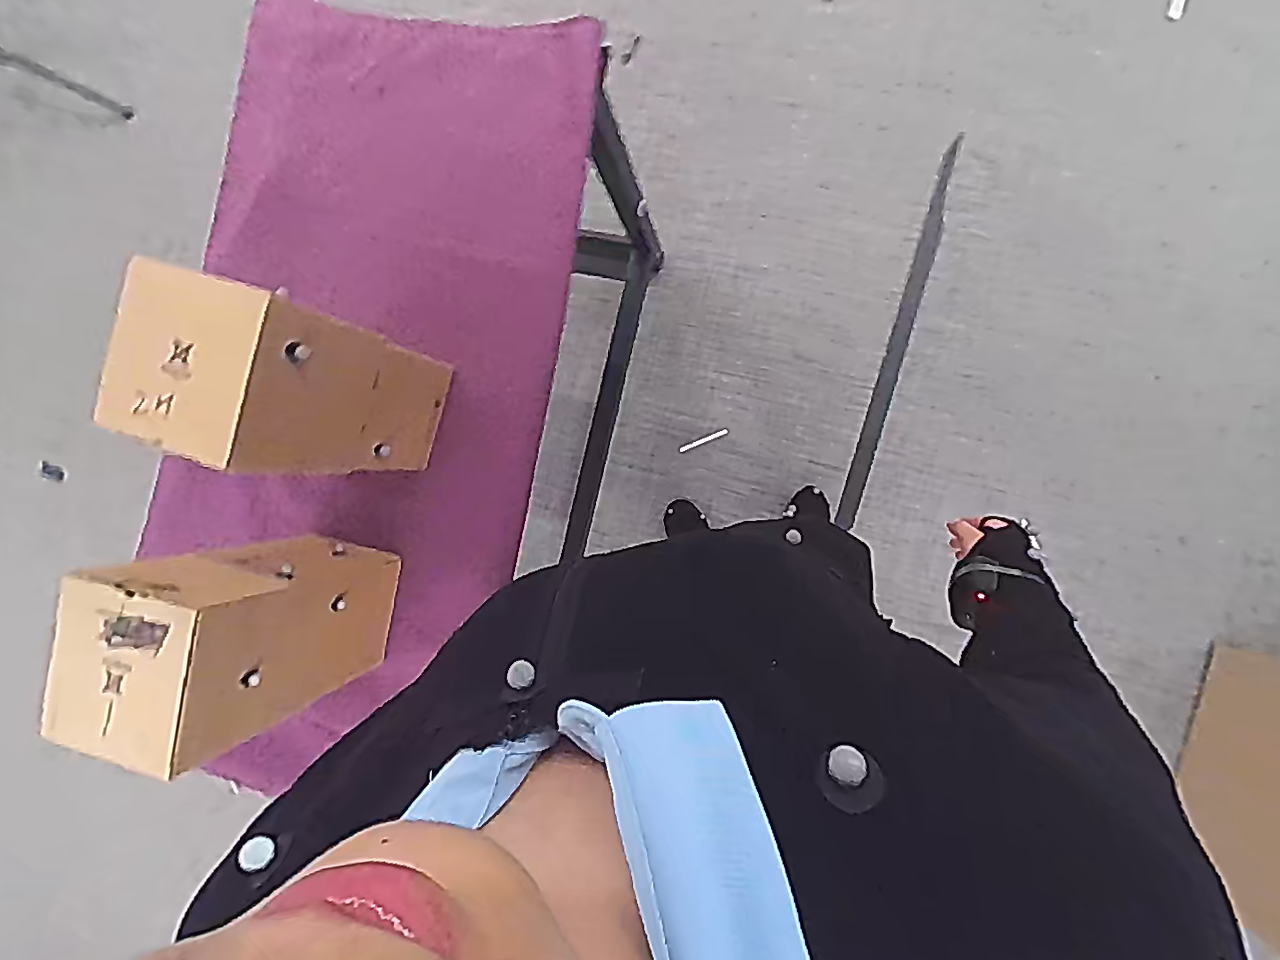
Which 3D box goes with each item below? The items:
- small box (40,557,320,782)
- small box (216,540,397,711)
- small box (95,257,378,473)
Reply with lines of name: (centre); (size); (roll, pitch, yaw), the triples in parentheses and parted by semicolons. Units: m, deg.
small box: (-0.501, 0.194, 0.614); (0.168, 0.176, 0.179); (11, 92, 10)
small box: (-0.479, 0.194, 0.777); (0.168, 0.176, 0.179); (11, 92, 9)
small box: (-0.423, -0.113, 0.596); (0.168, 0.176, 0.179); (17, 94, 10)
